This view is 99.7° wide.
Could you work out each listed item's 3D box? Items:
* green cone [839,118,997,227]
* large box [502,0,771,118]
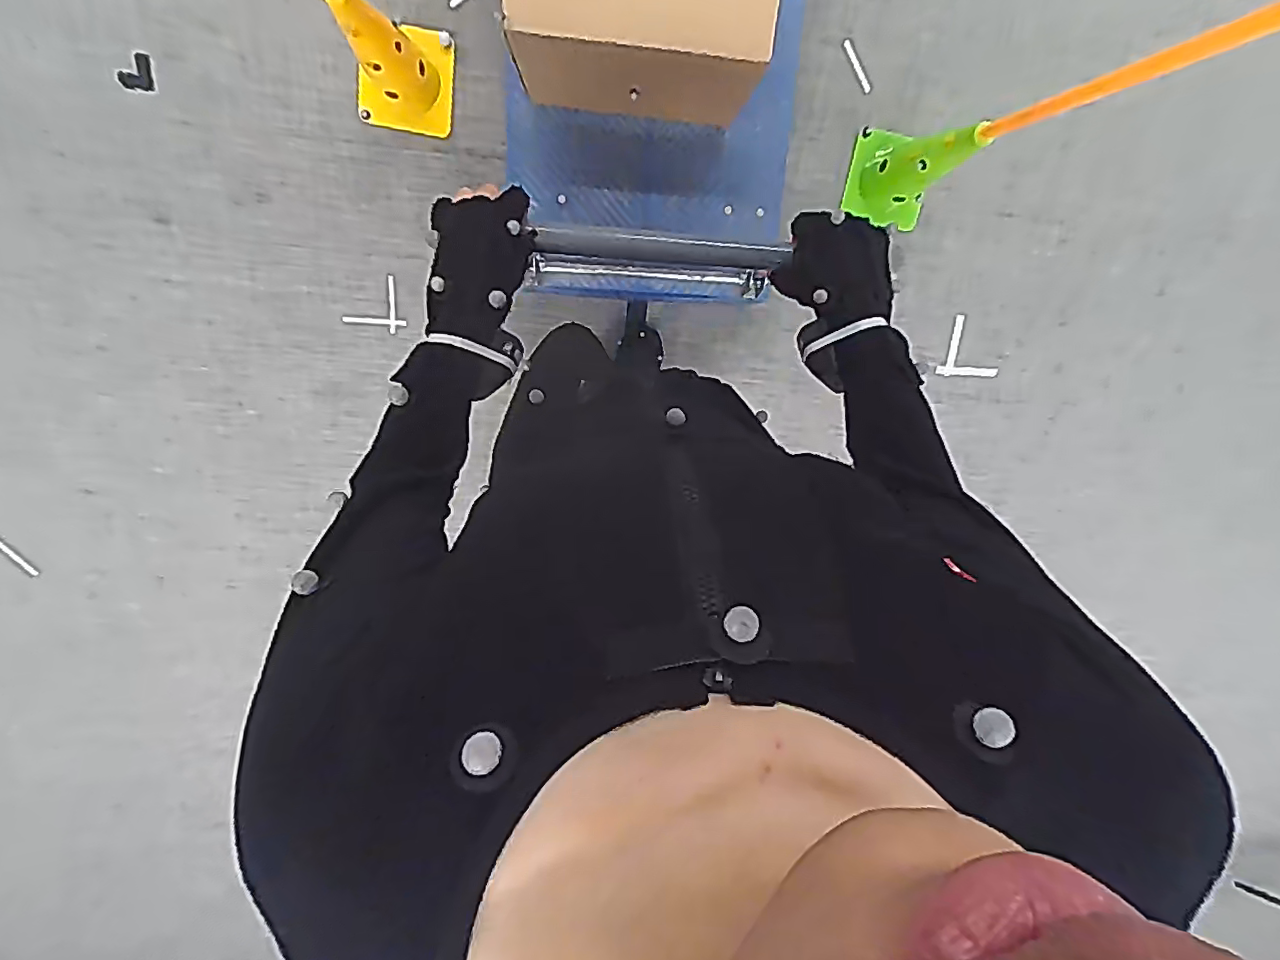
[{"bbox_3d":[0.612,-0.687,1.154,0.202,0.368,0.200,8,107,-7],"label":"green cone"},{"bbox_3d":[-0.002,-0.846,0.913,0.408,0.320,0.320,4,108,-4],"label":"large box"}]
